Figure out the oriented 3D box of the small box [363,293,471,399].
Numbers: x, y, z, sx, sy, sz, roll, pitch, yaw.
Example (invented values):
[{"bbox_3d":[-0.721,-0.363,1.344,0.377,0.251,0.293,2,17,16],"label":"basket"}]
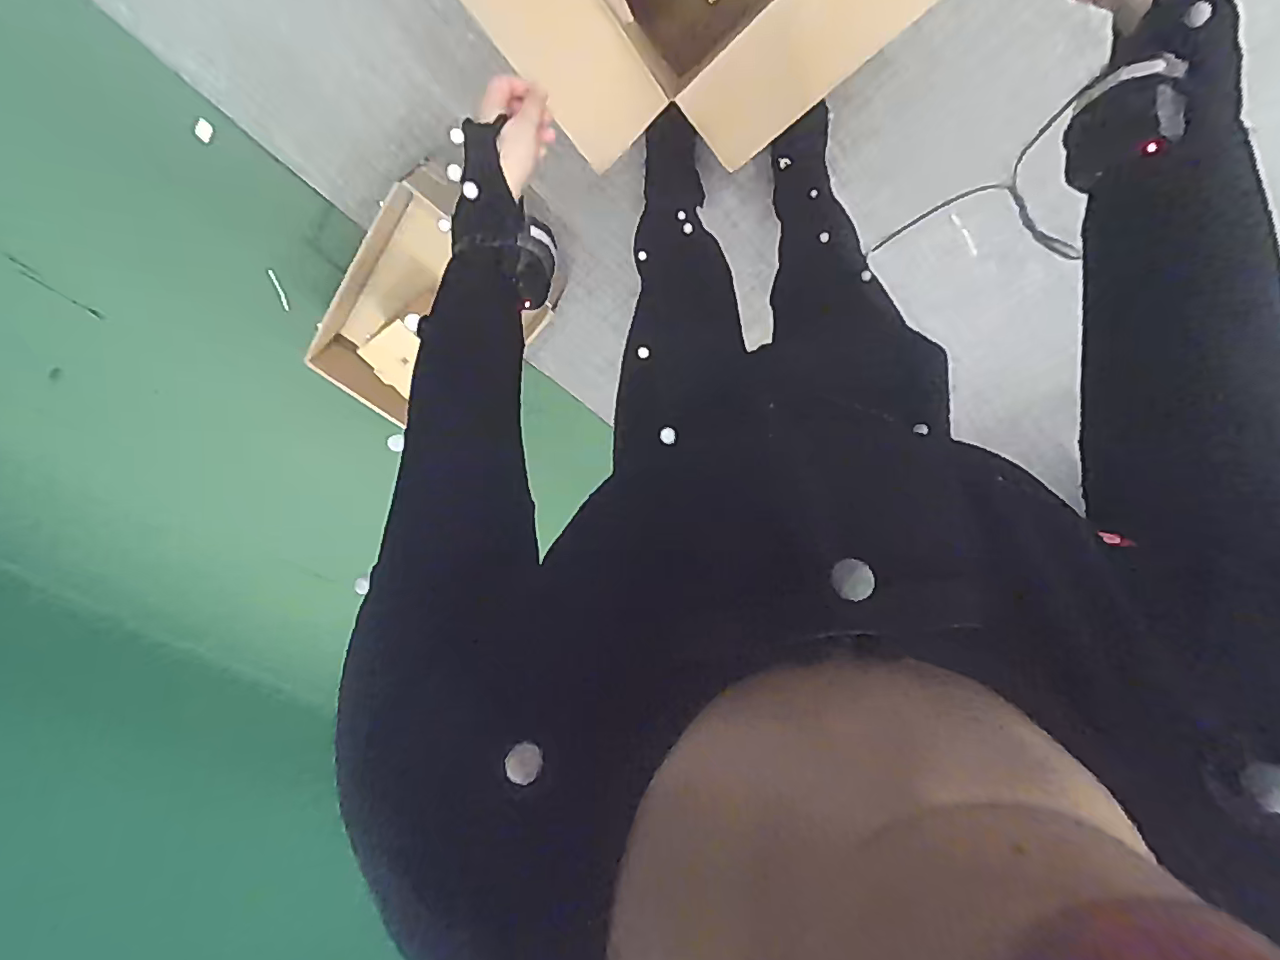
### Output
[{"bbox_3d":[-0.564,-0.349,1.399,0.179,0.176,0.168,-24,124,28],"label":"small box"}]
